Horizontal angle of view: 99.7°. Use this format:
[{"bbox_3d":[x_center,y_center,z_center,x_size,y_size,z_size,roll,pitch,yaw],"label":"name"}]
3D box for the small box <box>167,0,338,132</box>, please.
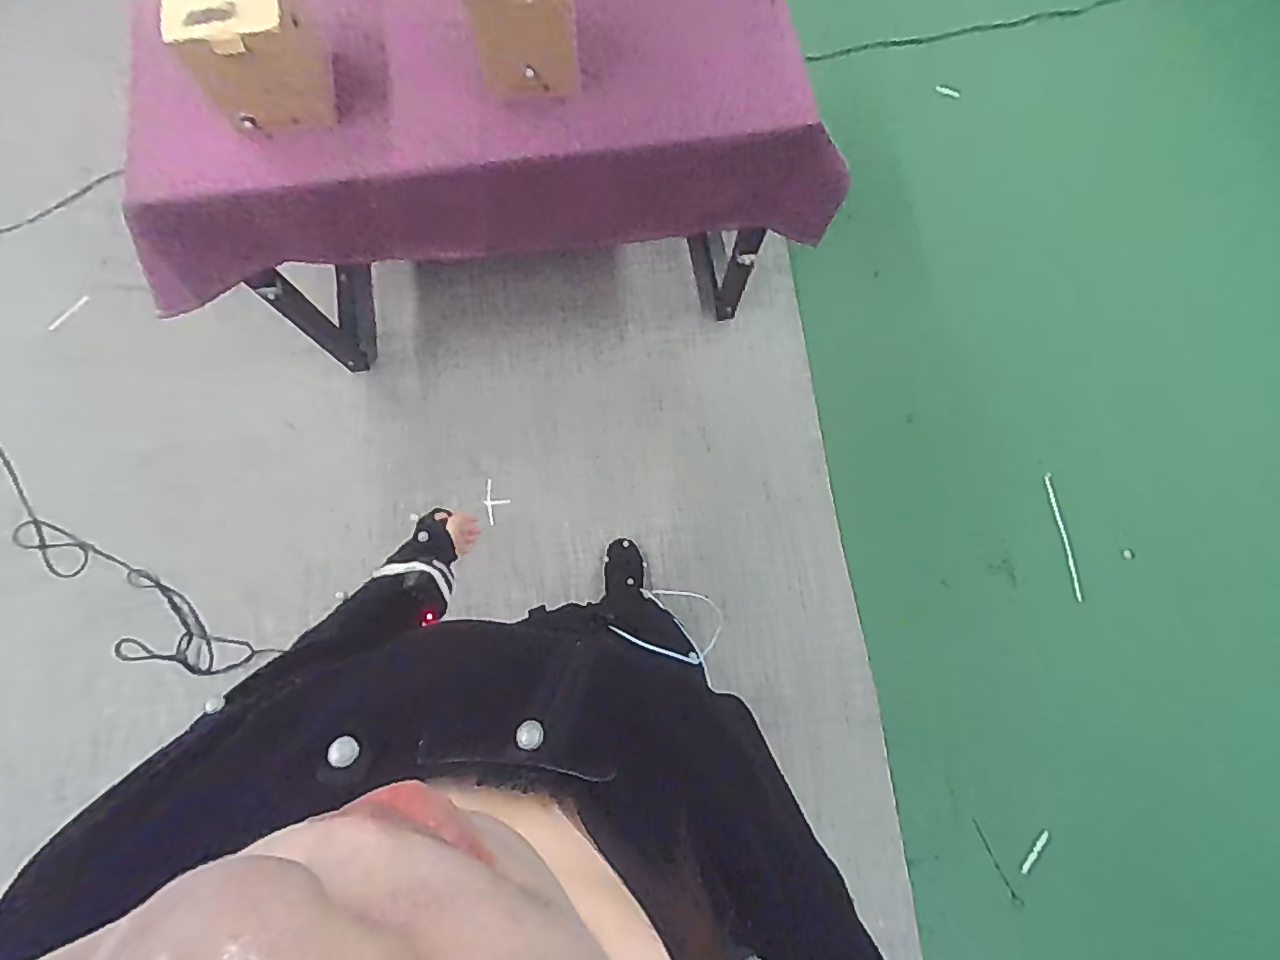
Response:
[{"bbox_3d":[-0.616,-0.702,0.880,0.168,0.176,0.179,-10,77,-4],"label":"small box"}]
